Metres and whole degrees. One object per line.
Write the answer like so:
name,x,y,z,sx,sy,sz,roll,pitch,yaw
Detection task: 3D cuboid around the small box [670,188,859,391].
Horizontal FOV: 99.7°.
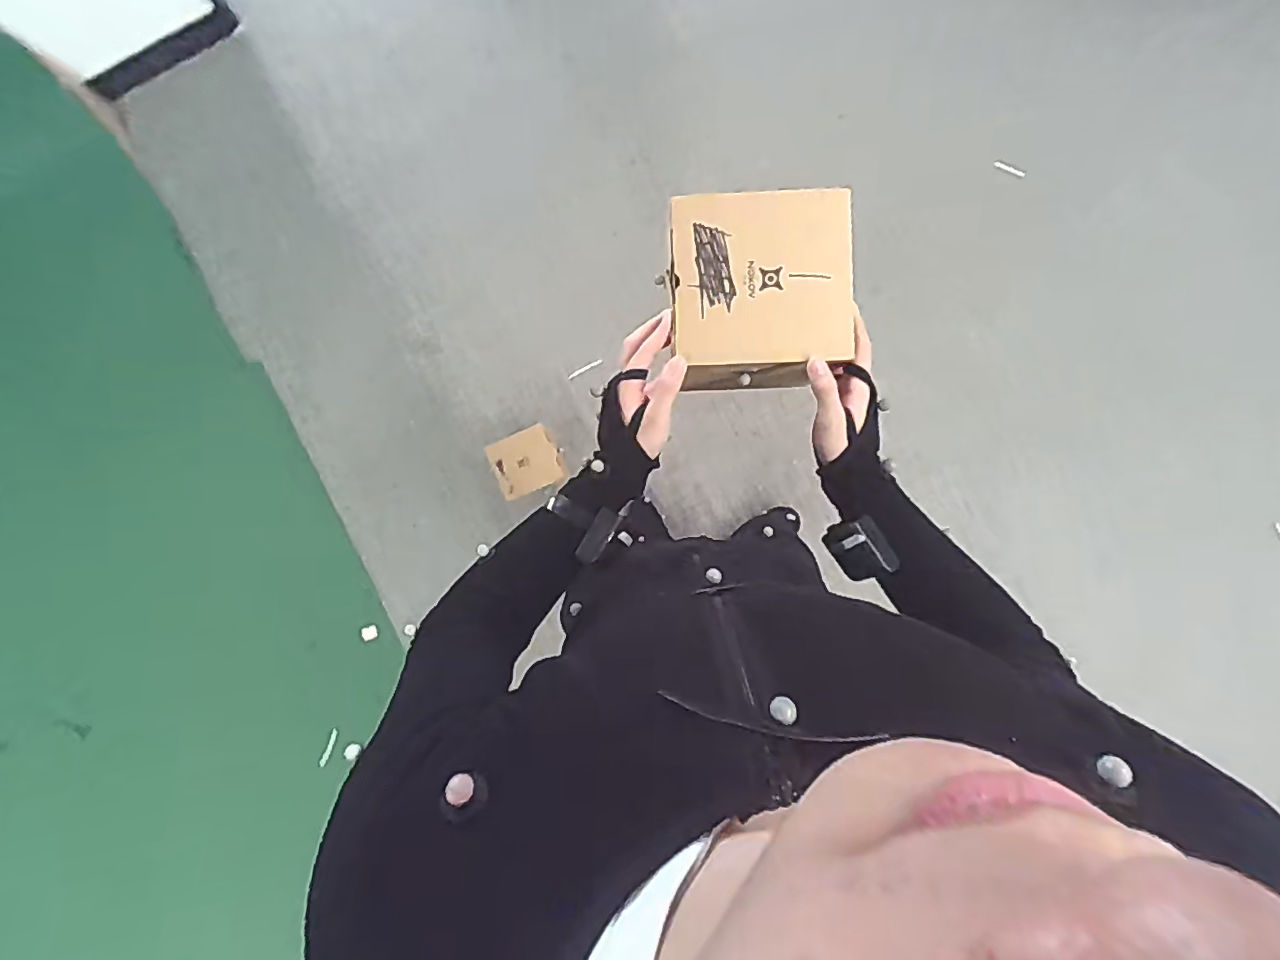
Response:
small box,0.122,-0.193,0.594,0.179,0.176,0.168,-2,91,1

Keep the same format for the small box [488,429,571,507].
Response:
small box,-0.308,-0.034,1.557,0.179,0.176,0.168,-24,89,-1
